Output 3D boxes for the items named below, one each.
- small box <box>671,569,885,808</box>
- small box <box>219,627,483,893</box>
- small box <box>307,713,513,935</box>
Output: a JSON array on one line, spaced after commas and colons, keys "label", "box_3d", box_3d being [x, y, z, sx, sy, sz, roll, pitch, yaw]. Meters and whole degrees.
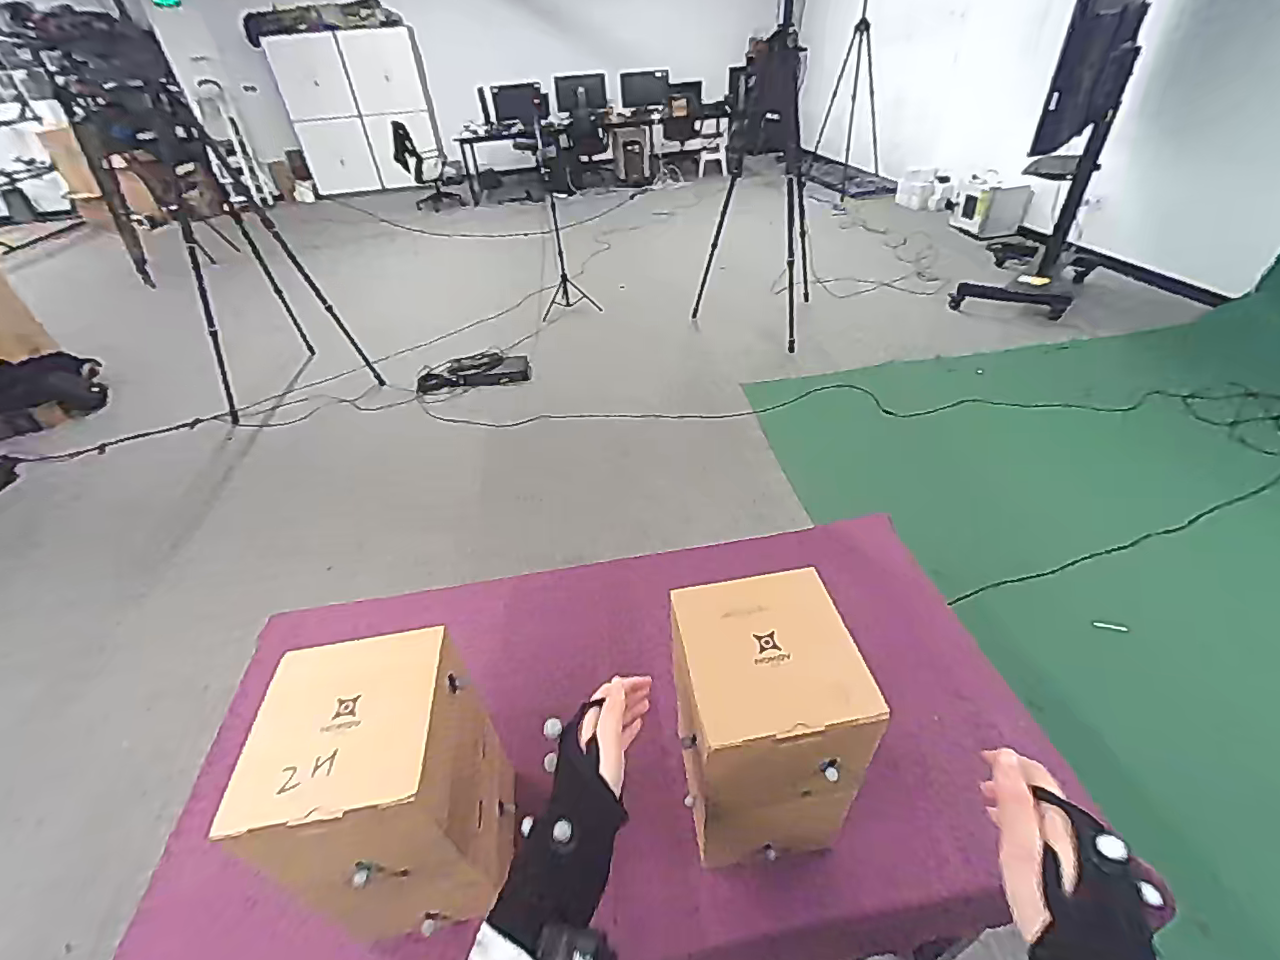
[{"label": "small box", "box_3d": [0.132, 0.226, 0.582, 0.168, 0.176, 0.179, -8, 39, -4]}, {"label": "small box", "box_3d": [-0.266, 0.282, 0.553, 0.168, 0.176, 0.179, -9, 40, -4]}, {"label": "small box", "box_3d": [-0.255, 0.413, 0.654, 0.179, 0.176, 0.168, -9, 39, -6]}]
